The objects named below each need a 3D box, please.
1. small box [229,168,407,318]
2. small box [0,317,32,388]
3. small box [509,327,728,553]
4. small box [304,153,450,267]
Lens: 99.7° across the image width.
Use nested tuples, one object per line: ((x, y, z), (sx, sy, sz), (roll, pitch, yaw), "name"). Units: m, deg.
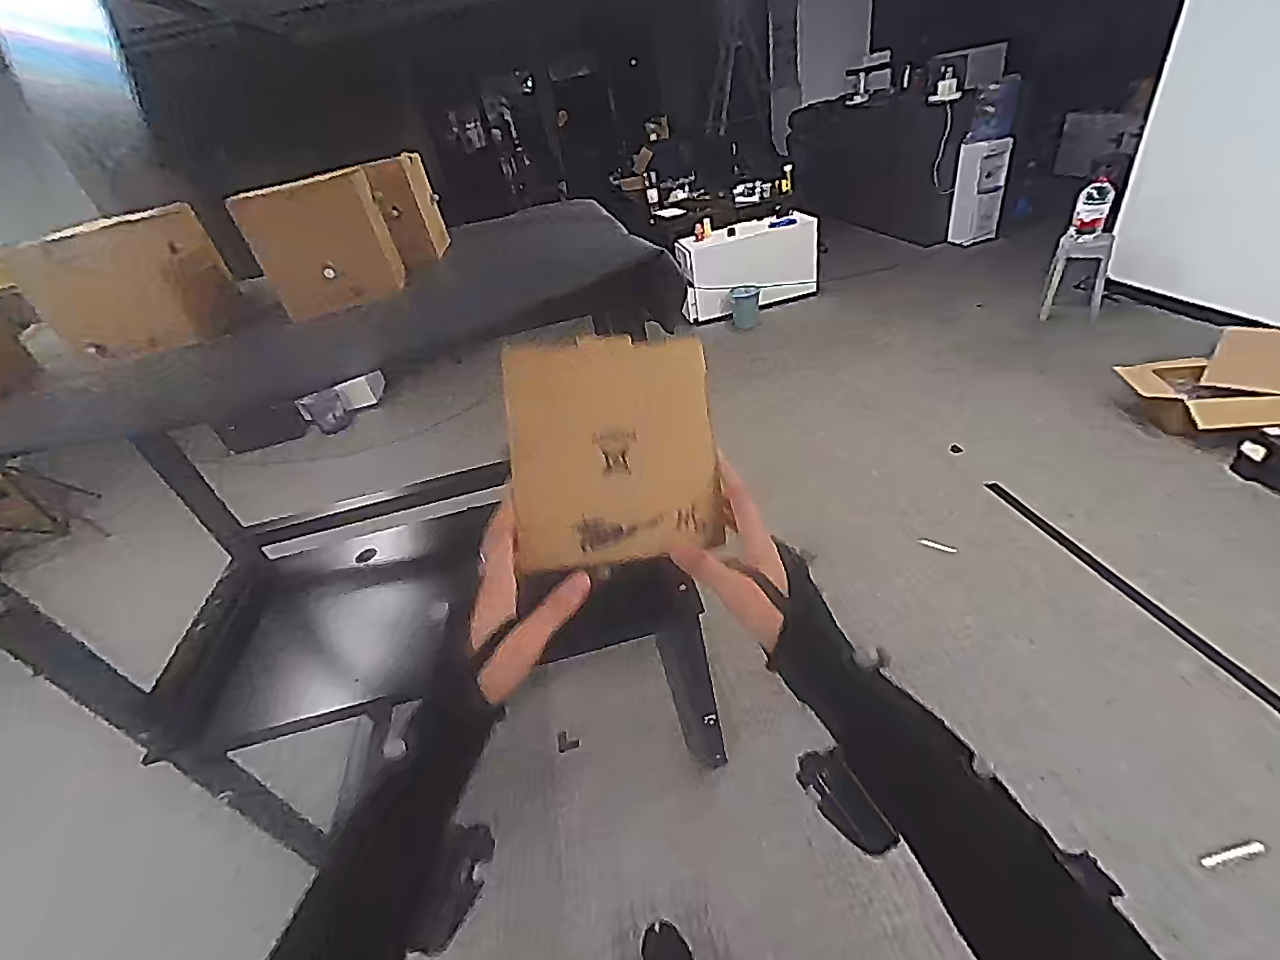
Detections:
((-0.474, -0.365, 0.831), (0.168, 0.176, 0.179), (-20, 36, -10), "small box")
((-1.018, -0.181, 0.738), (0.168, 0.176, 0.179), (-17, 37, -6), "small box")
((-0.031, -0.027, 0.503), (0.168, 0.179, 0.176), (-4, -5, -10), "small box")
((-0.474, -0.494, 1.009), (0.179, 0.176, 0.168), (-13, 35, -2), "small box")
